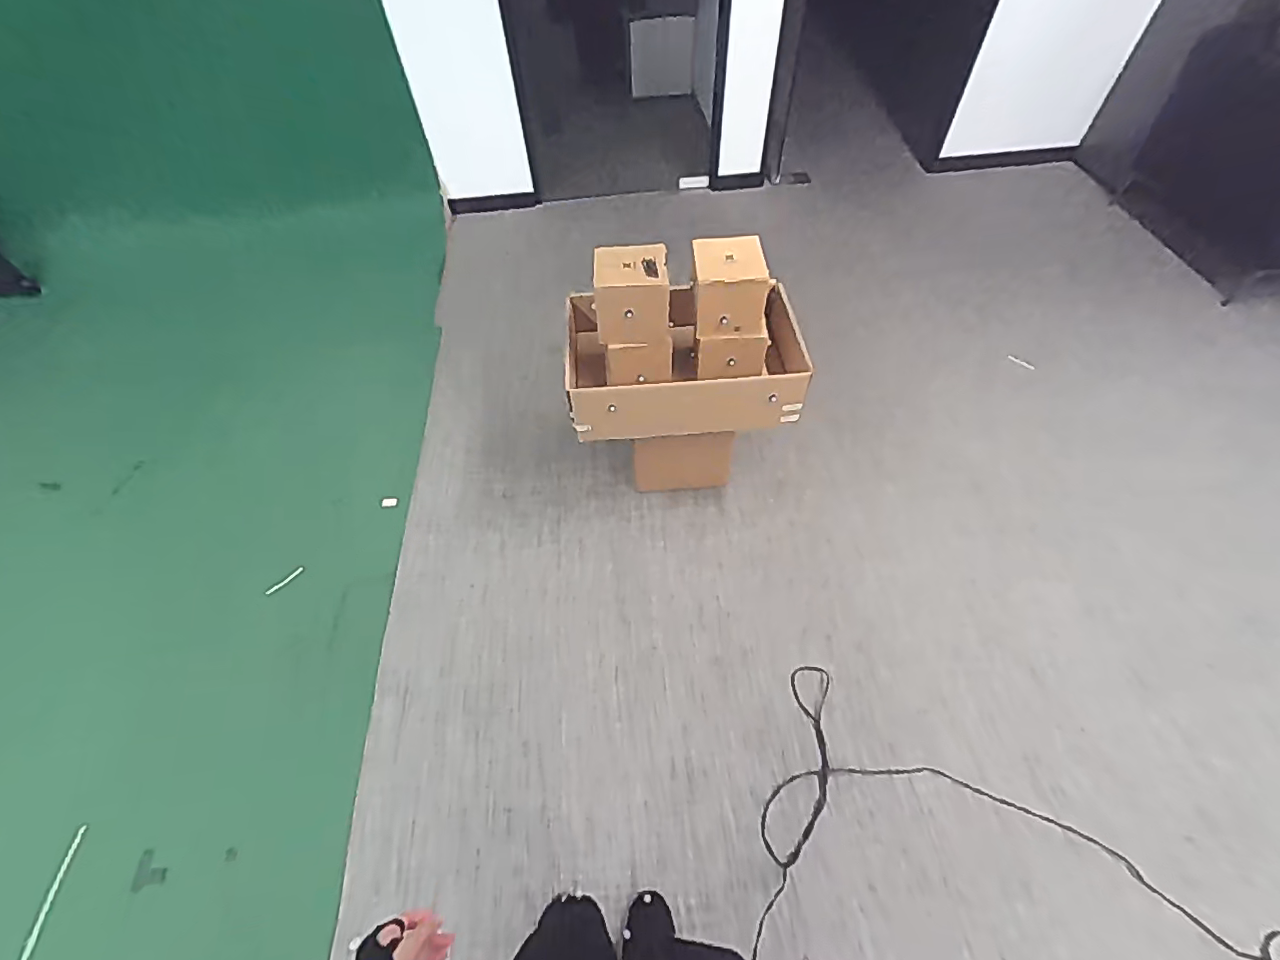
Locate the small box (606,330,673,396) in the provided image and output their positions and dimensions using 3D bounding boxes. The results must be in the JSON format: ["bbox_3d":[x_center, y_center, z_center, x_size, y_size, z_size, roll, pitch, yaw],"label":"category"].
[{"bbox_3d":[-0.007,-0.355,1.478,0.168,0.176,0.179,-7,55,-3],"label":"small box"}]

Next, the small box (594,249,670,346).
[{"bbox_3d":[-0.016,-0.450,1.344,0.179,0.176,0.168,-2,53,2],"label":"small box"}]

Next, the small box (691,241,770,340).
[{"bbox_3d":[0.219,-0.472,1.356,0.168,0.176,0.179,-3,54,1],"label":"small box"}]
